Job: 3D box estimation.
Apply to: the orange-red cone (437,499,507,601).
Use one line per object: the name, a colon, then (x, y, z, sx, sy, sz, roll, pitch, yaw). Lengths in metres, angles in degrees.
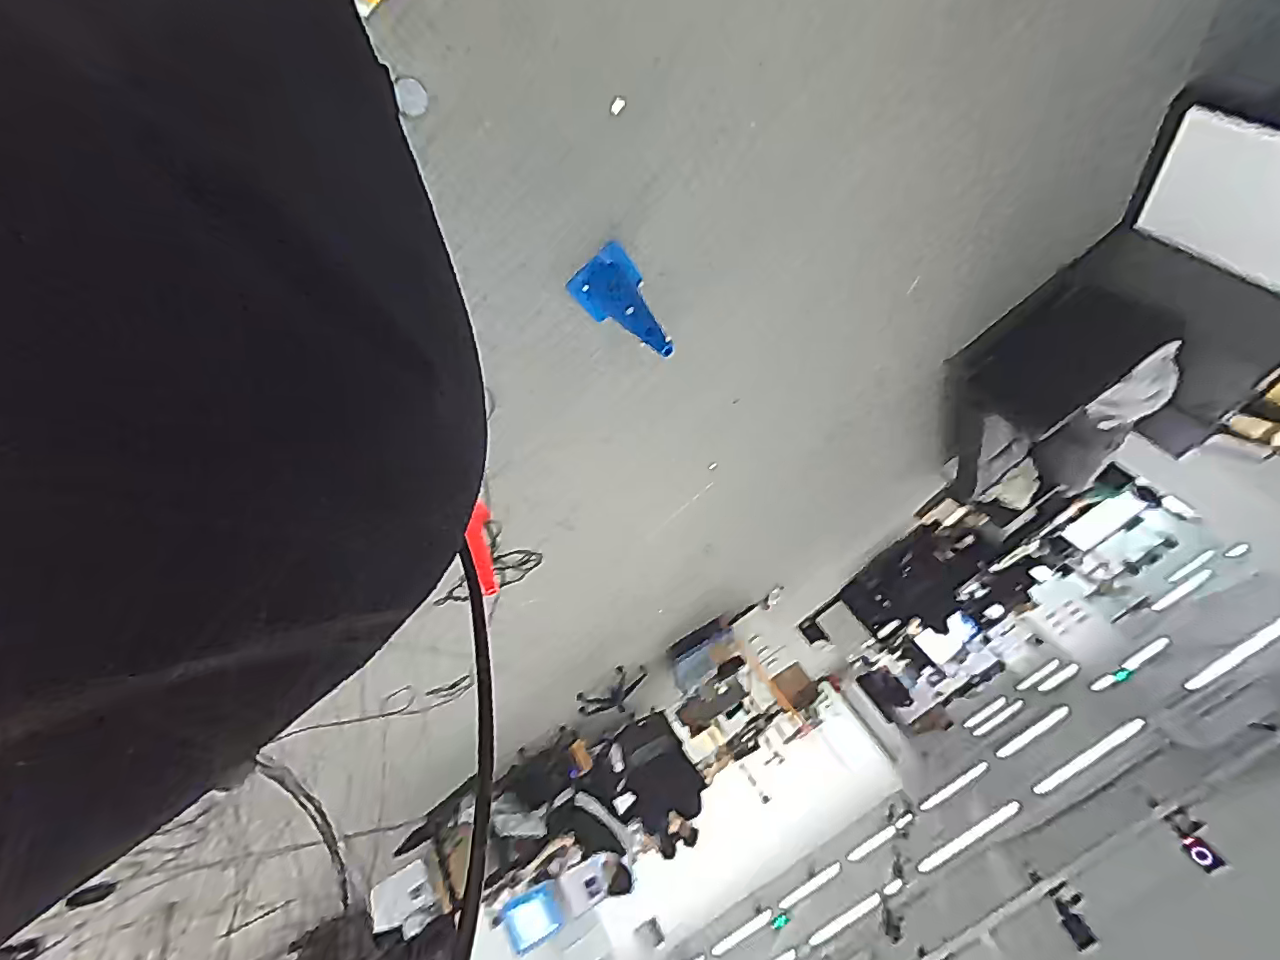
orange-red cone: (-0.550, 0.277, 1.917, 0.199, 0.360, 0.198, -29, 146, -8)

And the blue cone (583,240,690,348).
blue cone: (0.016, -0.478, 1.507, 0.192, 0.380, 0.193, -41, 147, 8)
